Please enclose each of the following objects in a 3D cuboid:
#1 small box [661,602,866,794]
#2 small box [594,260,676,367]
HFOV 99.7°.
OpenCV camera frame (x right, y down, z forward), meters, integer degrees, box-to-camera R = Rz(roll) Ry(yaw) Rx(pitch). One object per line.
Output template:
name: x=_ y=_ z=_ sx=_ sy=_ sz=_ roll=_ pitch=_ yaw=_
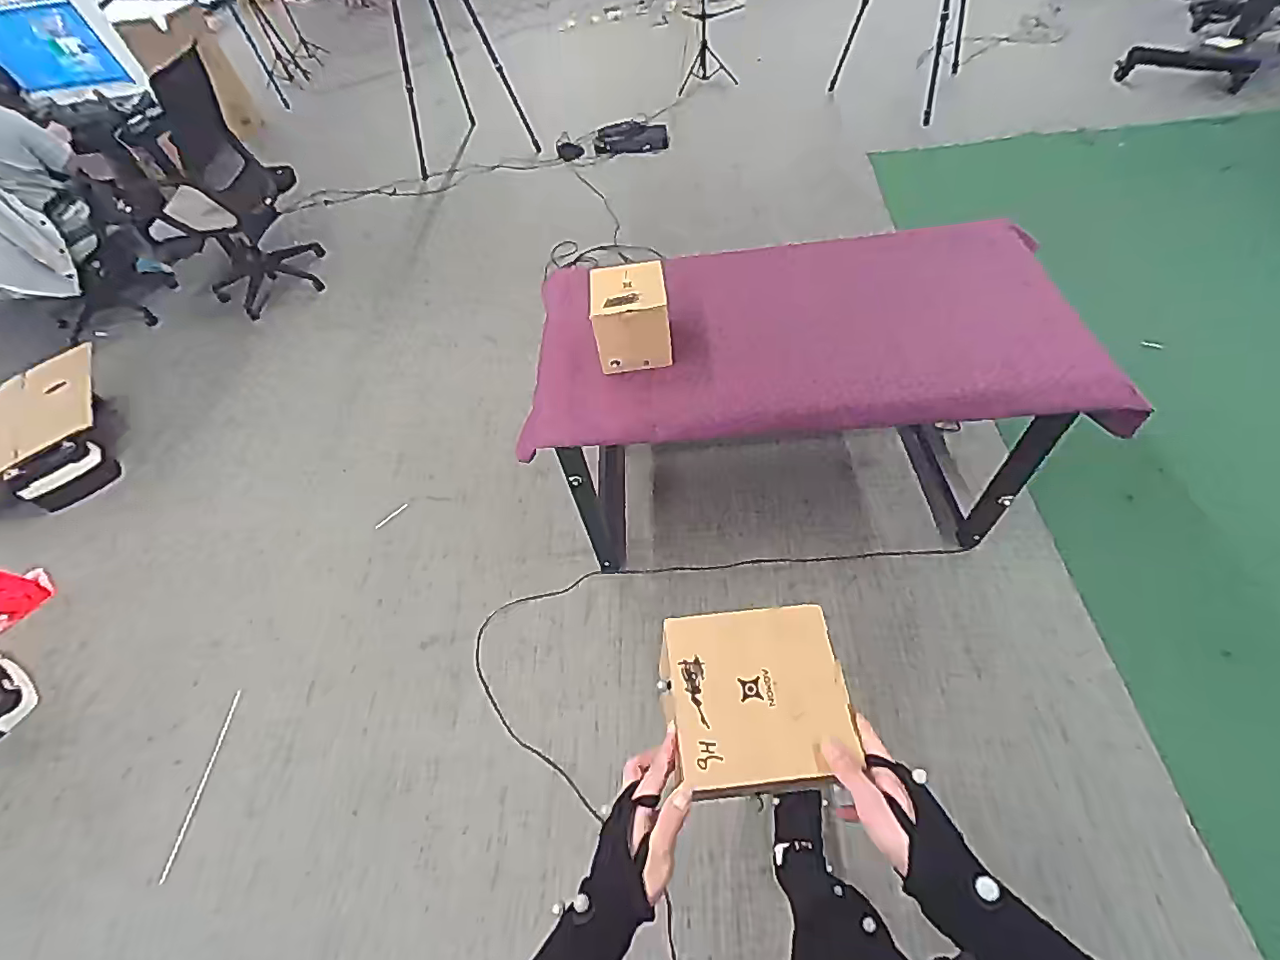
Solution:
small box: x=0.120 y=0.249 z=0.611 sx=0.179 sy=0.176 sz=0.168 roll=-4 pitch=55 yaw=-3
small box: x=-0.009 y=-0.375 z=1.244 sx=0.168 sy=0.176 sz=0.179 roll=-6 pitch=53 yaw=3
